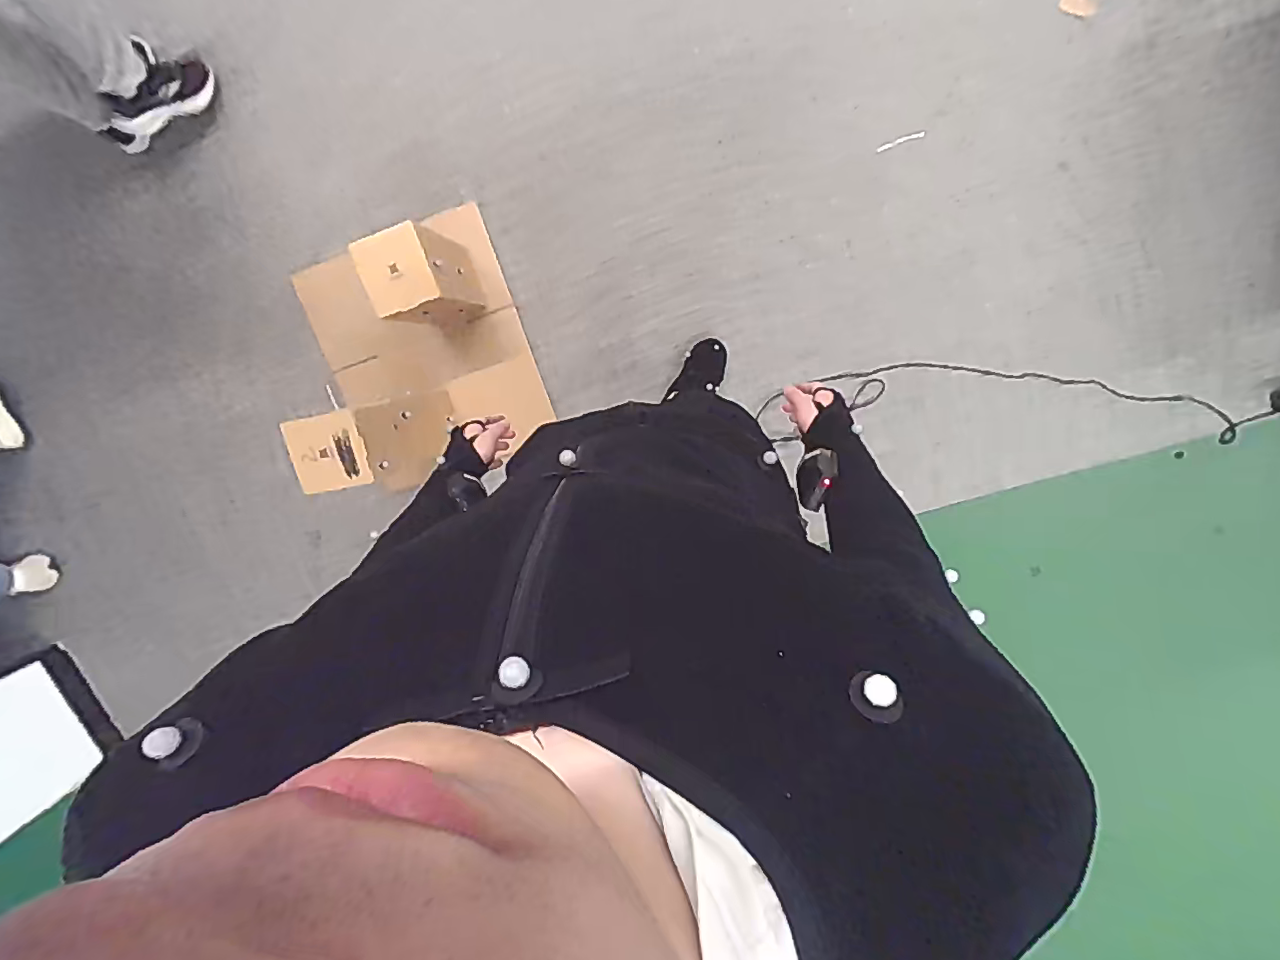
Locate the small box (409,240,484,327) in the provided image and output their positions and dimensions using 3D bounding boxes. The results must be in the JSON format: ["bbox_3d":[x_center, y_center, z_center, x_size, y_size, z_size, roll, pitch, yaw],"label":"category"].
[{"bbox_3d":[-0.549,-0.525,1.468,0.168,0.176,0.179,-17,102,8],"label":"small box"}]

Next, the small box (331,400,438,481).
[{"bbox_3d":[-0.655,-0.109,1.408,0.168,0.176,0.179,-10,103,8],"label":"small box"}]

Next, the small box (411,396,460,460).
[{"bbox_3d":[-0.648,-0.145,1.570,0.168,0.176,0.179,-9,103,7],"label":"small box"}]

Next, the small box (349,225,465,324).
[{"bbox_3d":[-0.554,-0.488,1.311,0.168,0.176,0.179,-18,103,8],"label":"small box"}]
